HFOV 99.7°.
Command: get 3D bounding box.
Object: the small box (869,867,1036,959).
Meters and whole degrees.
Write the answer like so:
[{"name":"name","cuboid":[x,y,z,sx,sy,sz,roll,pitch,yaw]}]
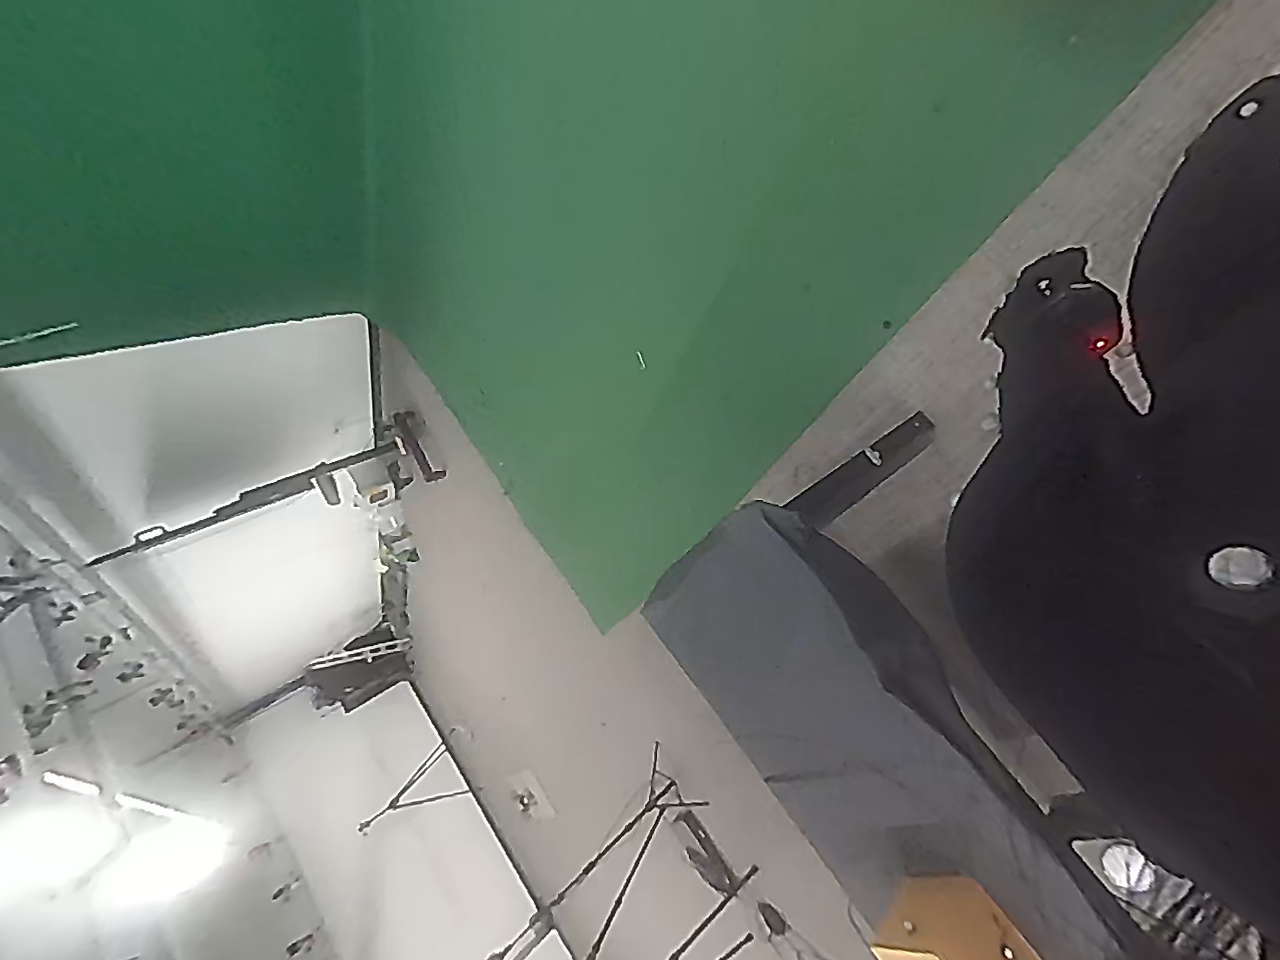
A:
[{"name":"small box","cuboid":[0.570,0.847,0.988,0.168,0.176,0.179,51,141,18]}]
